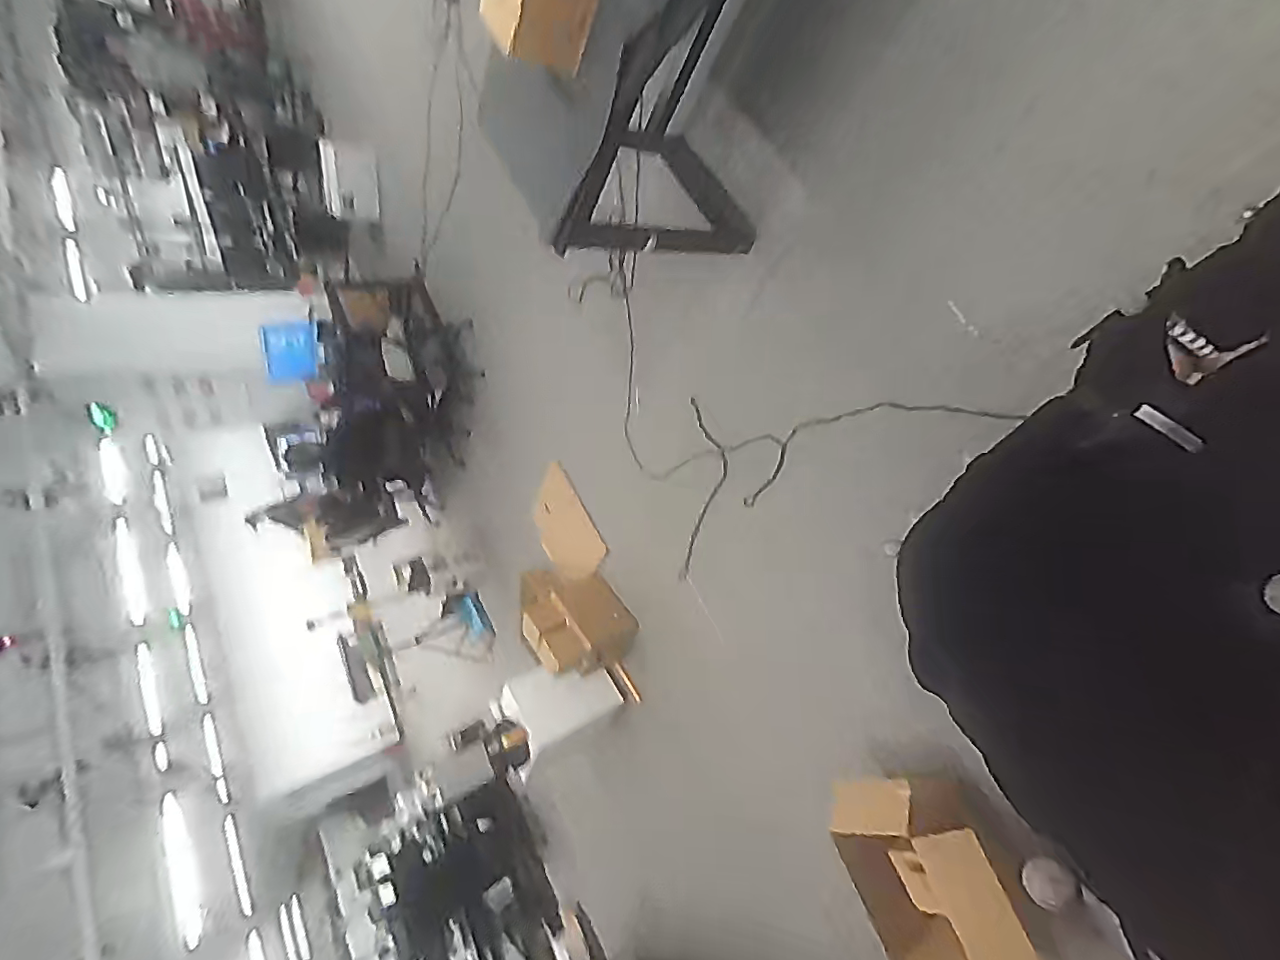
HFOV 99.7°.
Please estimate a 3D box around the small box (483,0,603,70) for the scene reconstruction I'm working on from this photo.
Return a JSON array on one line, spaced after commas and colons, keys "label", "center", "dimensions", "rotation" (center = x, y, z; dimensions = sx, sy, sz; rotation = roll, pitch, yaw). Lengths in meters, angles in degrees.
[{"label": "small box", "center": [-0.206, -1.012, 1.142], "dimensions": [0.179, 0.176, 0.168], "rotation": [62, 142, 18]}]
